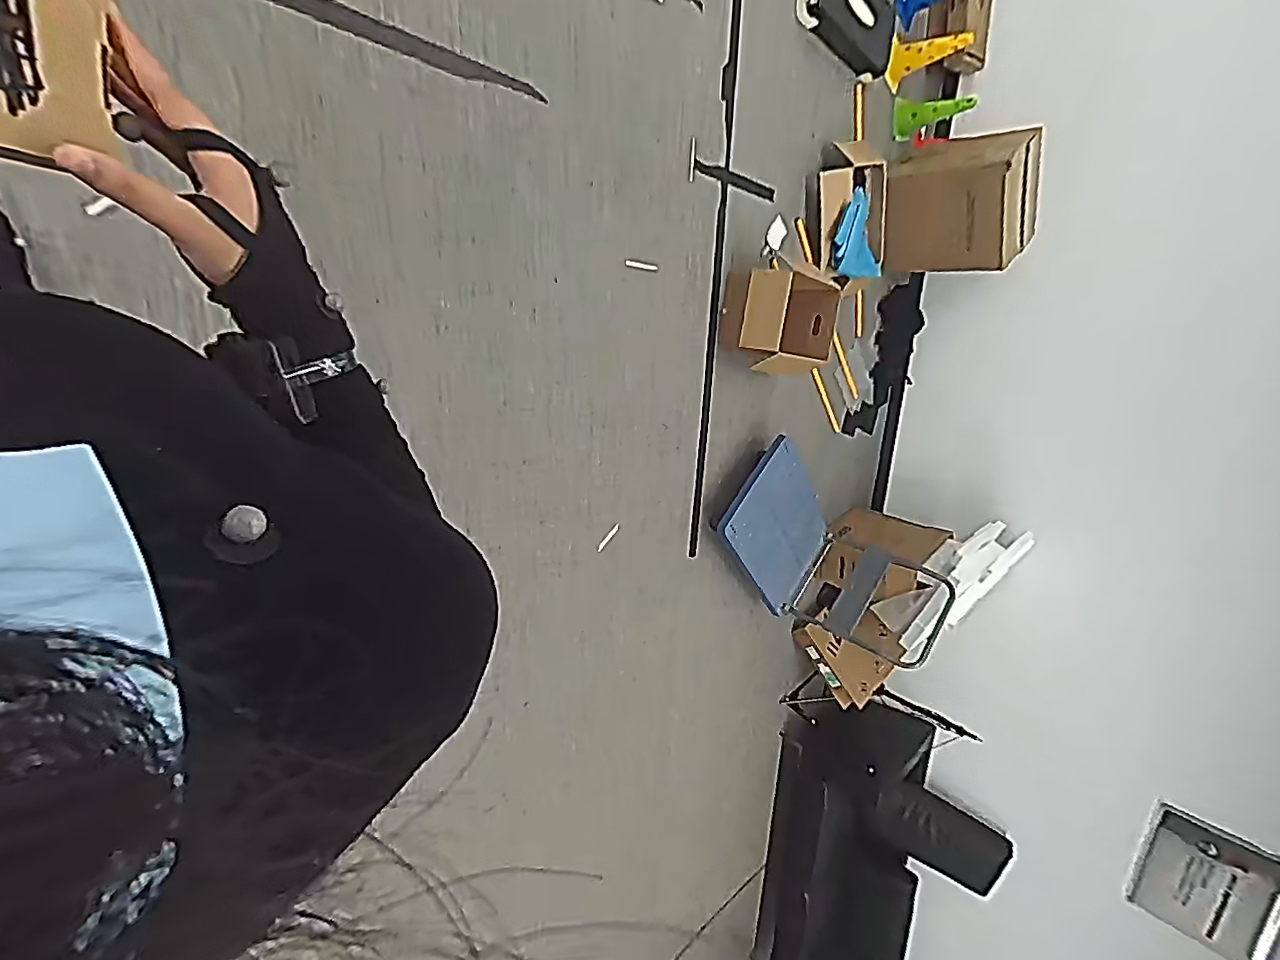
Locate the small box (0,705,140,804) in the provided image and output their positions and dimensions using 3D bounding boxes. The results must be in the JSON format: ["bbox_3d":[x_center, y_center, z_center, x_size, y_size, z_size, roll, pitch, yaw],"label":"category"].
[{"bbox_3d":[-1.150,0.589,1.097,0.168,0.176,0.179,-15,114,-41],"label":"small box"}]
